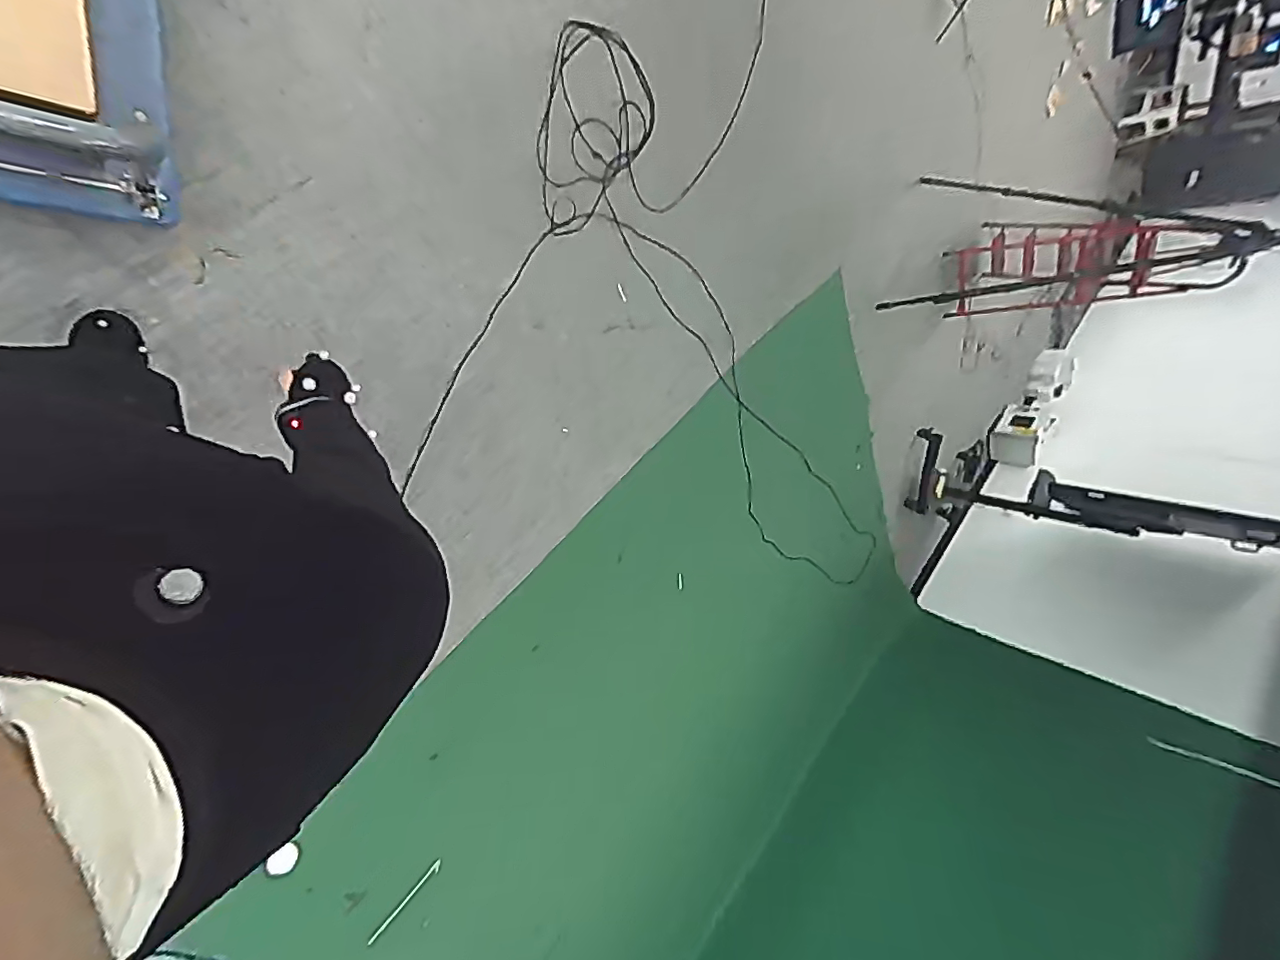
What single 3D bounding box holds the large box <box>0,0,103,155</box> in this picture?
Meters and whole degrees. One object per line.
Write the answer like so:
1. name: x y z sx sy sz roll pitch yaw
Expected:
1. large box: -0.990 -0.737 0.741 0.320 0.320 0.408 -7 106 -42
